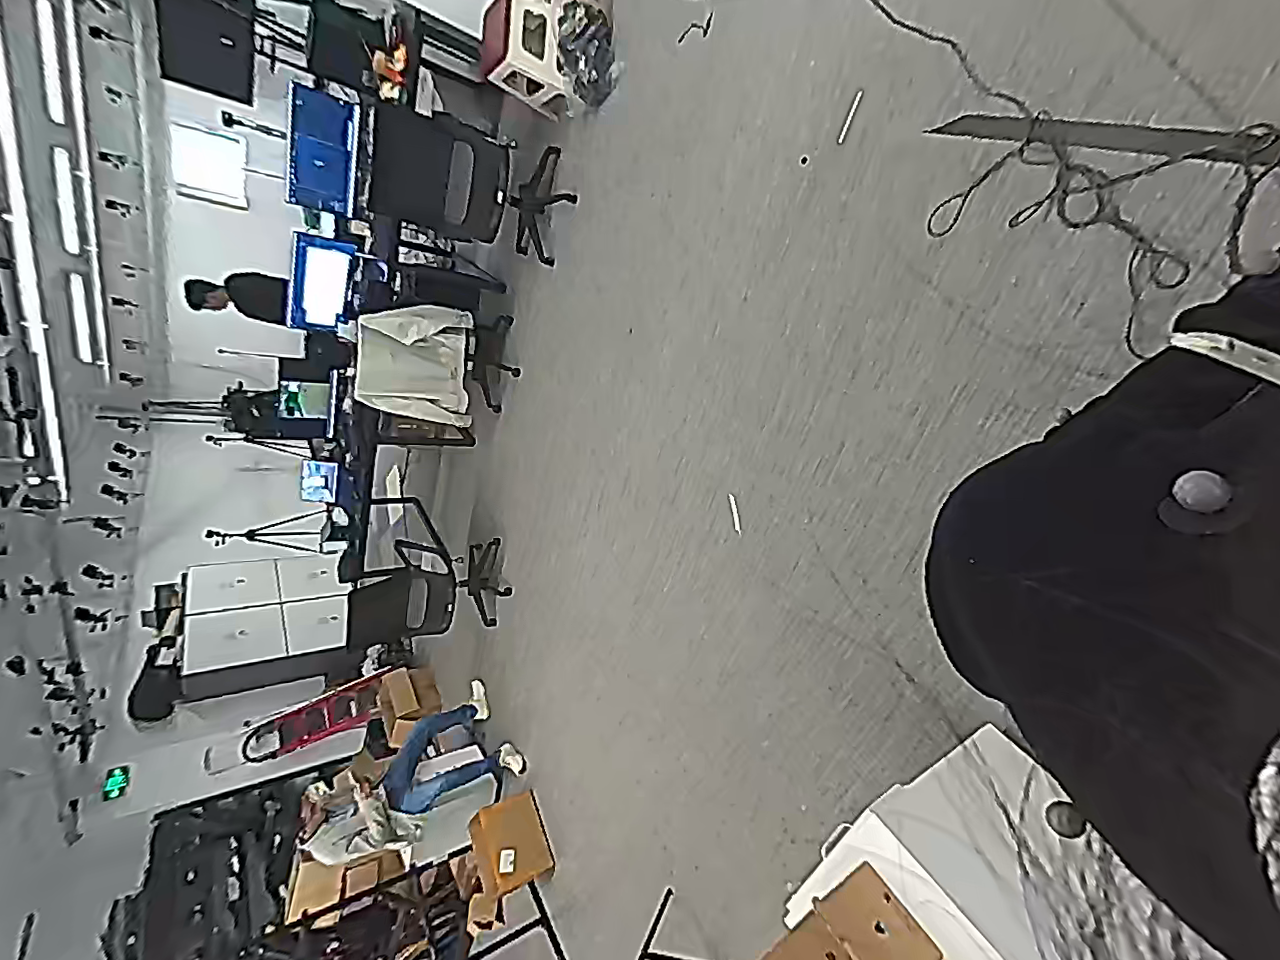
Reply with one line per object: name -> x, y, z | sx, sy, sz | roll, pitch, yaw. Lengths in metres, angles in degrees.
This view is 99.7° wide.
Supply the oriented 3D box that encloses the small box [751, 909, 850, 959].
small box -> 0.244, 0.837, 0.849 | 0.168, 0.176, 0.179 | 44, 125, 40
